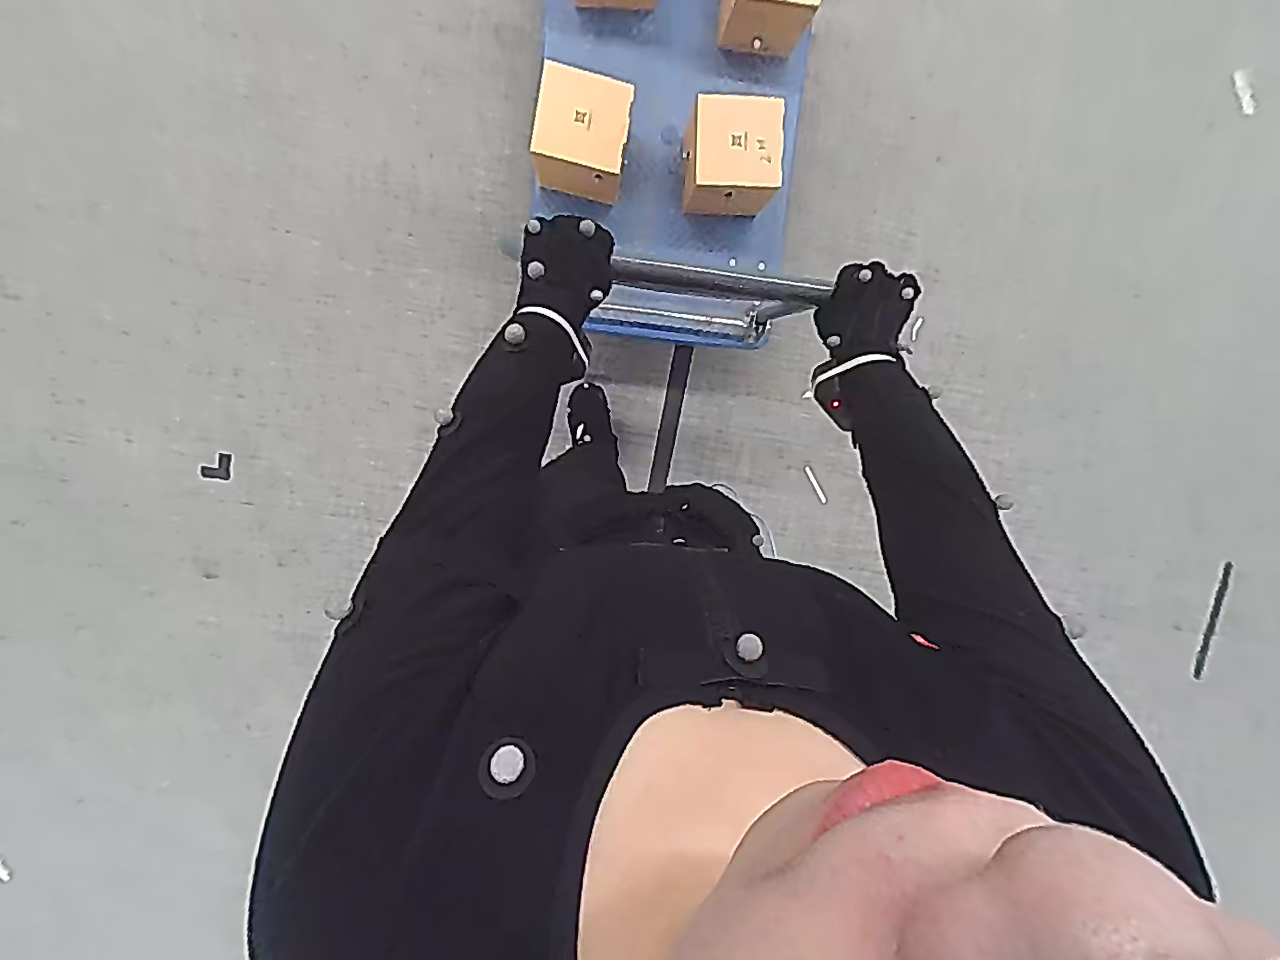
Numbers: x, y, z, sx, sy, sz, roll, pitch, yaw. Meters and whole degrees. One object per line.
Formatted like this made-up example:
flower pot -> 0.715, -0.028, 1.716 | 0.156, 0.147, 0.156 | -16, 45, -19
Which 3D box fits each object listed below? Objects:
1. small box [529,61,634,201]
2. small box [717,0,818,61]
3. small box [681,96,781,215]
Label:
small box -> -0.121, -0.701, 1.110 | 0.179, 0.176, 0.168 | 11, 97, -8
small box -> 0.260, -1.008, 1.099 | 0.168, 0.176, 0.179 | 4, 99, -6
small box -> 0.183, -0.674, 1.142 | 0.179, 0.176, 0.168 | 0, 99, -5
